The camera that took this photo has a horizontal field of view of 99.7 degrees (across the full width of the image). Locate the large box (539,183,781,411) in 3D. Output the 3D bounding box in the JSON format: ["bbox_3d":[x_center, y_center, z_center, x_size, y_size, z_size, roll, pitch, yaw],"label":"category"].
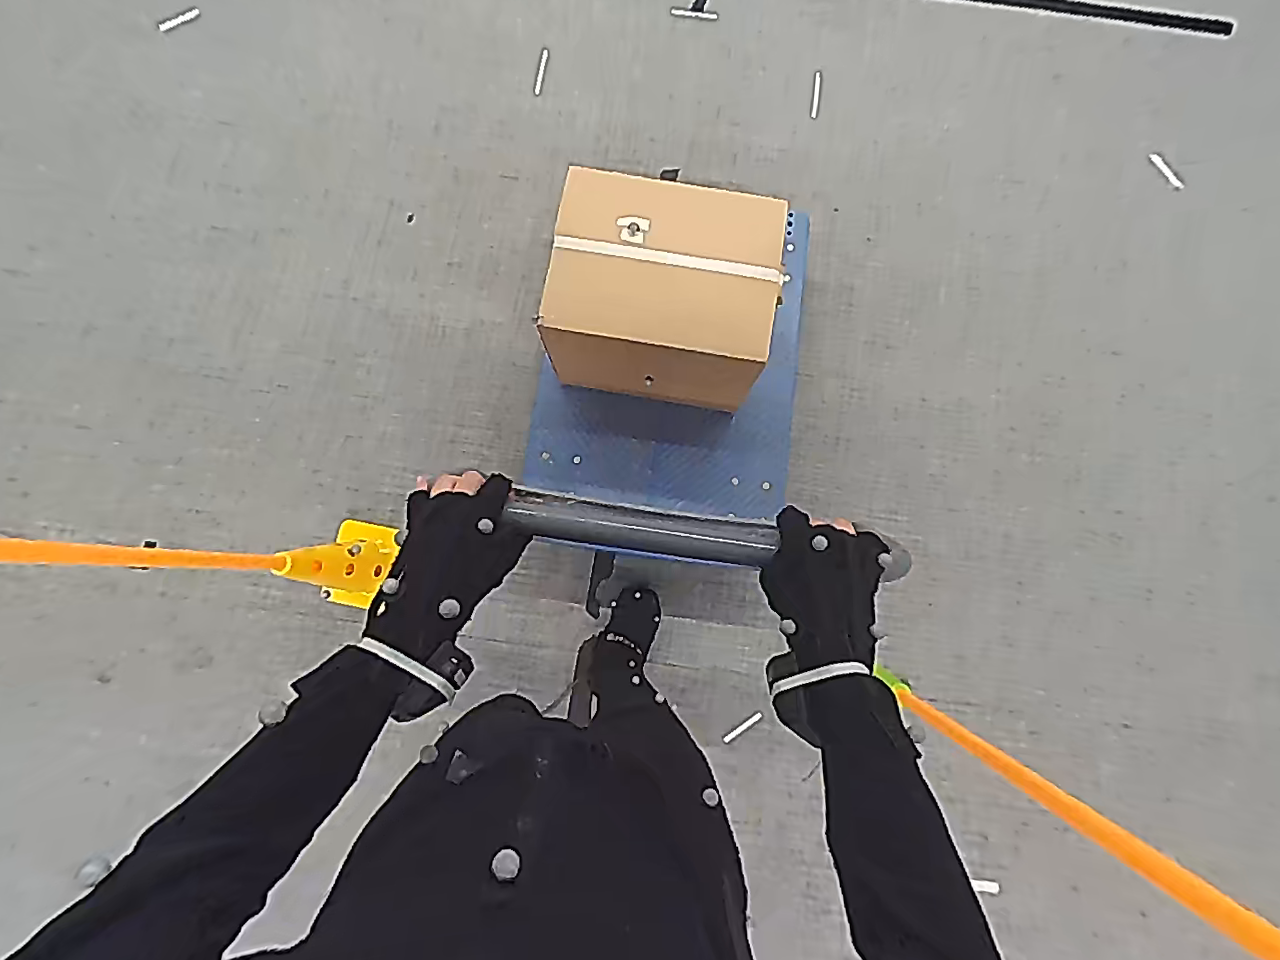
[{"bbox_3d":[0.043,-0.349,1.114,0.408,0.320,0.320,9,81,2],"label":"large box"}]

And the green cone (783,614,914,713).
[{"bbox_3d":[0.456,0.411,1.130,0.202,0.368,0.200,12,80,1],"label":"green cone"}]
